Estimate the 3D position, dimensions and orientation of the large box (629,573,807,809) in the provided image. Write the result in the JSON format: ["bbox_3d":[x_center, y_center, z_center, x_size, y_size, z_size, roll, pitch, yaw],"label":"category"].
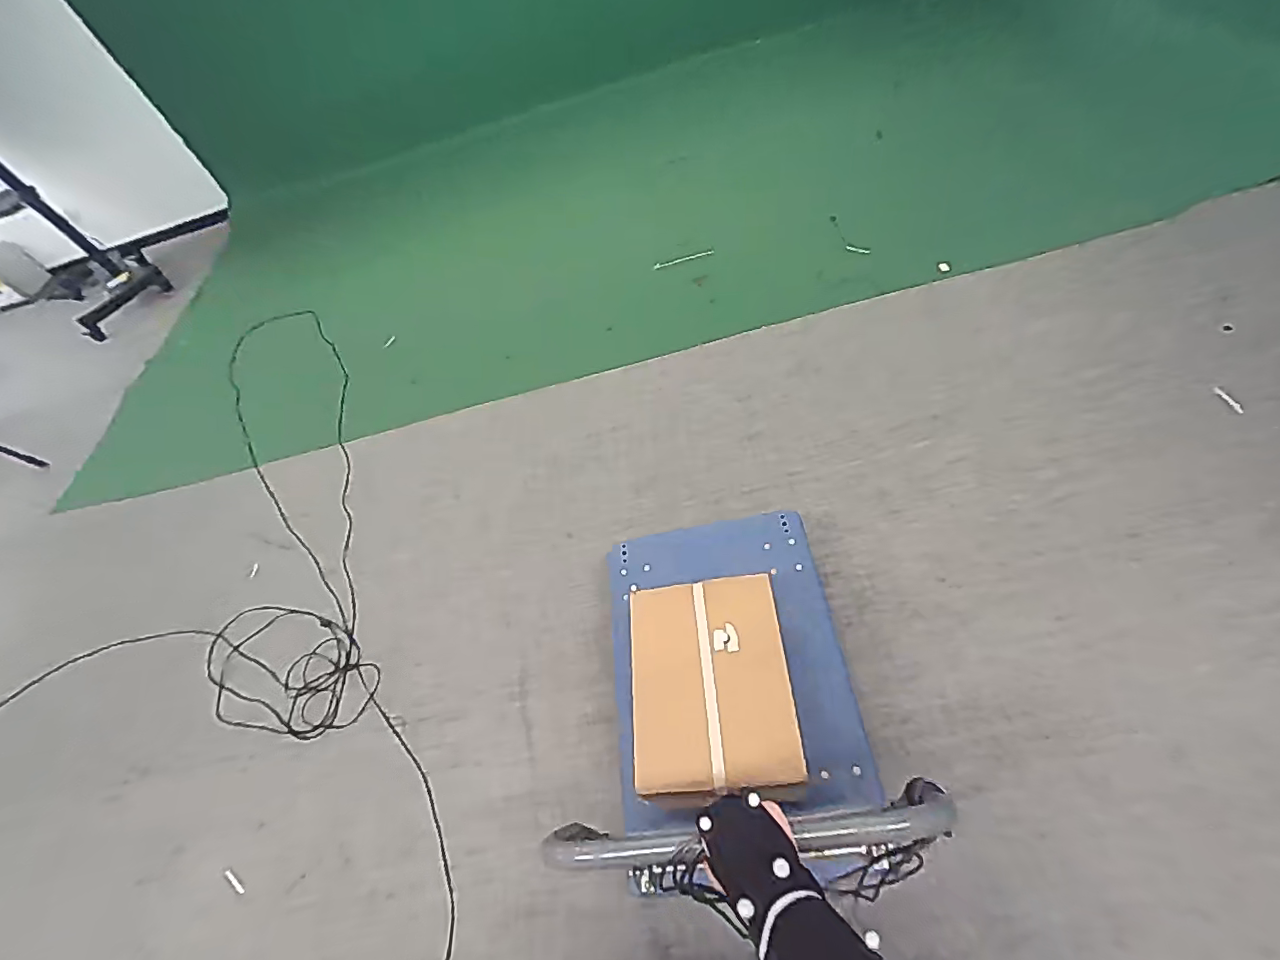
[{"bbox_3d":[0.166,0.469,1.190,0.320,0.320,0.408,-9,53,9],"label":"large box"}]
